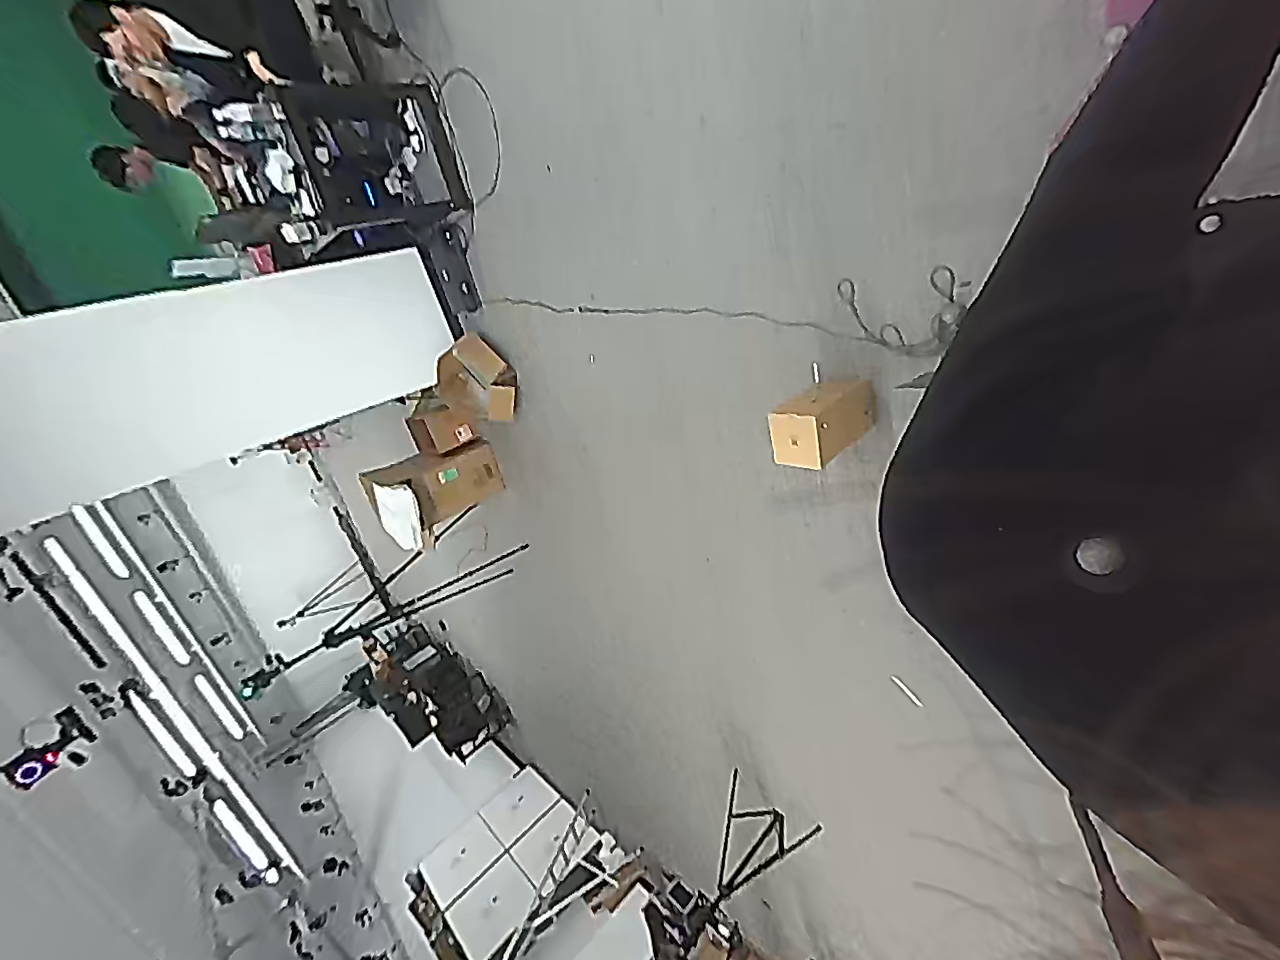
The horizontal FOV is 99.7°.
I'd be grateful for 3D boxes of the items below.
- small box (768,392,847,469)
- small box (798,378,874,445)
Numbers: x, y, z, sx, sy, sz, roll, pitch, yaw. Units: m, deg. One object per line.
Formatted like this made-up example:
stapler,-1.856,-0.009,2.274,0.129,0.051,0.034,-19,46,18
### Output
small box,0.524,-0.157,1.674,0.168,0.176,0.179,13,126,47
small box,0.638,-0.228,1.766,0.179,0.176,0.168,10,124,47
